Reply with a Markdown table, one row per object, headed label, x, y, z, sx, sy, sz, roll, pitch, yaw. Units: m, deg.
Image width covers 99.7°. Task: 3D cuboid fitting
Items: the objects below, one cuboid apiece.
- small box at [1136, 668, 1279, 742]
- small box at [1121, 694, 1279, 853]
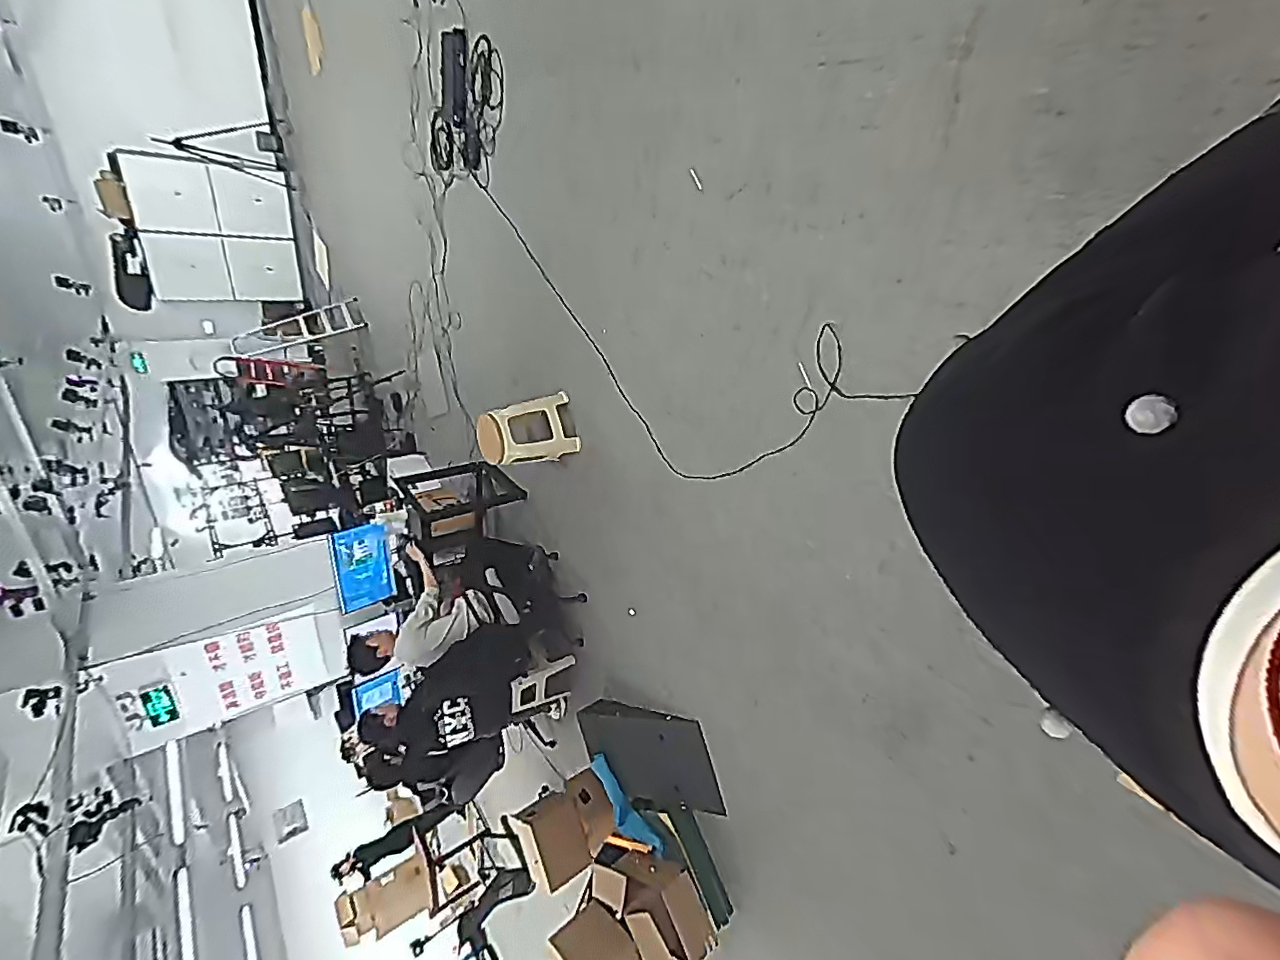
| label | x | y | z | sx | sy | sz | roll | pitch | yaw |
| --- | --- | --- | --- | --- | --- | --- | --- | --- | --- |
| small box | 1.223 | 0.529 | 1.149 | 0.179 | 0.176 | 0.168 | 38 | 131 | 40 |
| small box | 1.095 | 0.558 | 1.048 | 0.168 | 0.176 | 0.179 | 36 | 128 | 40 |
